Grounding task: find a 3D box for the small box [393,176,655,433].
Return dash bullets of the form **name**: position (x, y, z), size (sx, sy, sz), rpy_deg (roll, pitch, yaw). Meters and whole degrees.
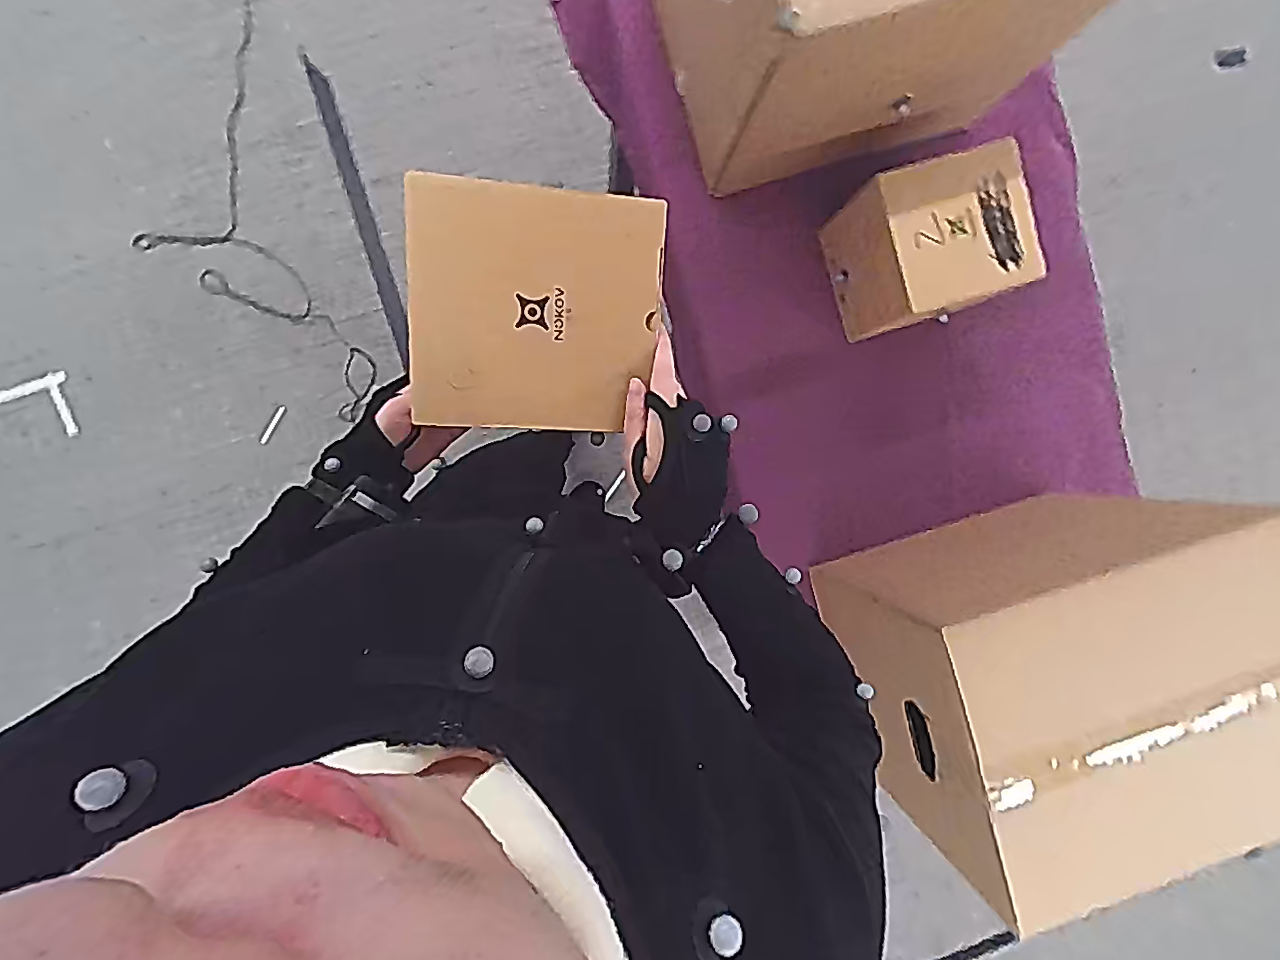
- **small box**: position (-0.093, -0.132, 0.457), size (0.179, 0.176, 0.168), rpy_deg (0, 102, -11)
